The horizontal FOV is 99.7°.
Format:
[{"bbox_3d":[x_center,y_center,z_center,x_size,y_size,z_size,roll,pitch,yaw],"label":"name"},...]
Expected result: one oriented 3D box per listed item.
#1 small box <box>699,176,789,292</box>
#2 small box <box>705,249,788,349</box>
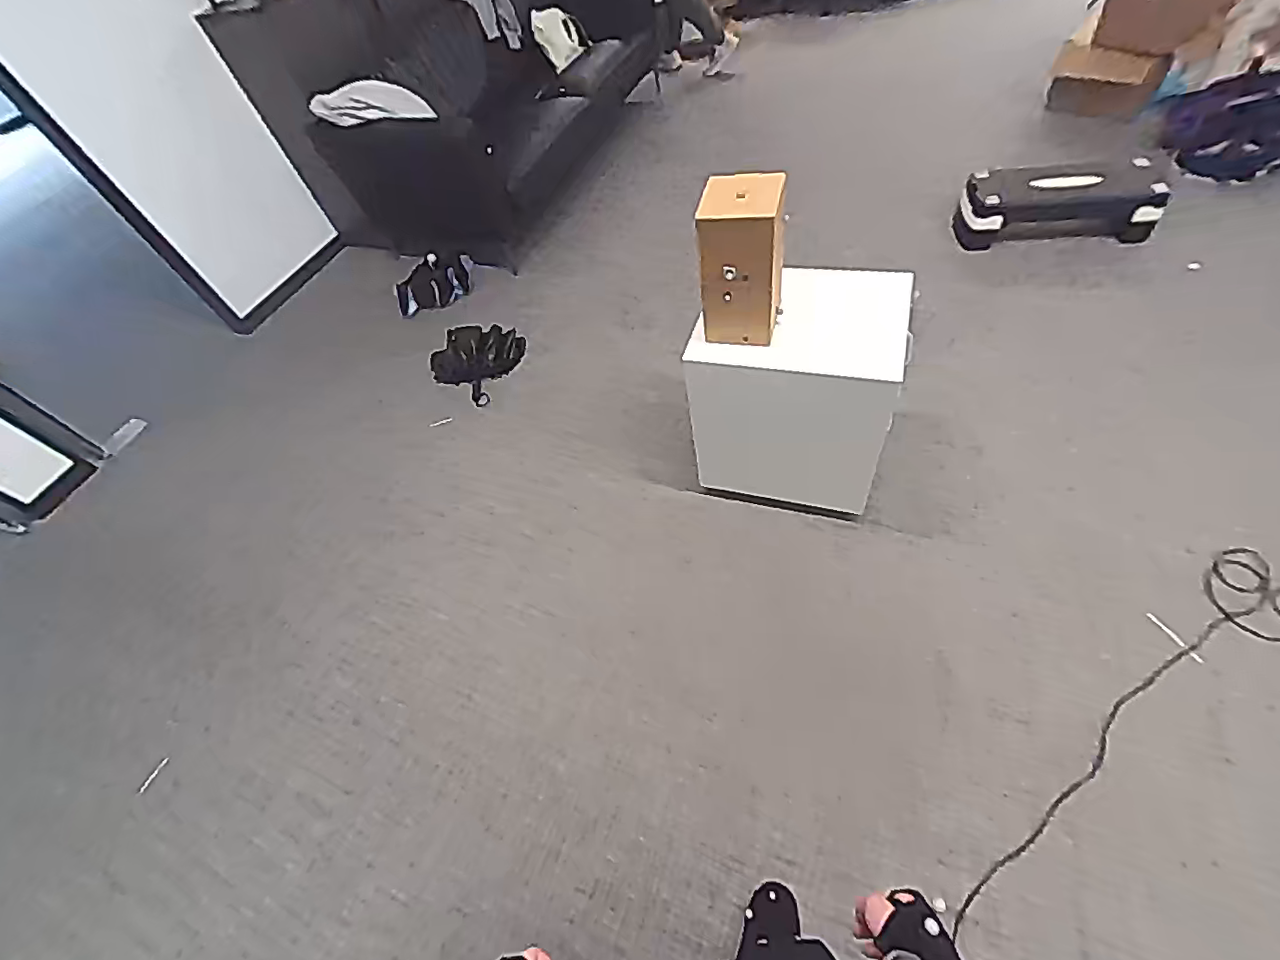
[{"bbox_3d":[0.233,-0.540,1.192,0.168,0.176,0.179,6,56,17],"label":"small box"},{"bbox_3d":[0.261,-0.446,1.322,0.168,0.176,0.179,9,56,18],"label":"small box"}]
